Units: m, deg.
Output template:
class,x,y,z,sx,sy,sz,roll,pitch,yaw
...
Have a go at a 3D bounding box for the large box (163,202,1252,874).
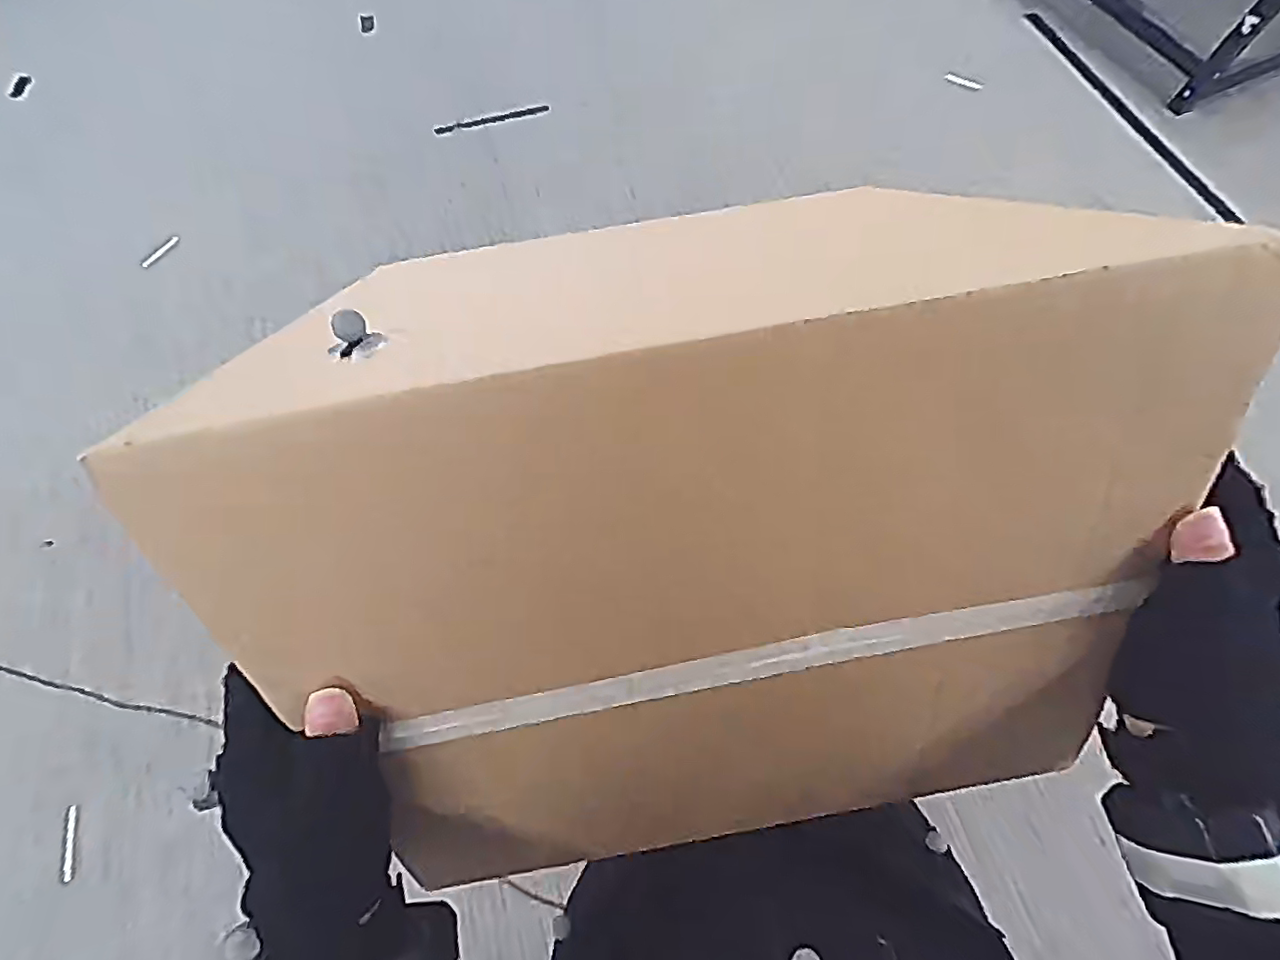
class,x,y,z,sx,sy,sz,roll,pitch,yaw
large box,0.030,0.007,0.393,0.408,0.320,0.320,-11,32,-1
